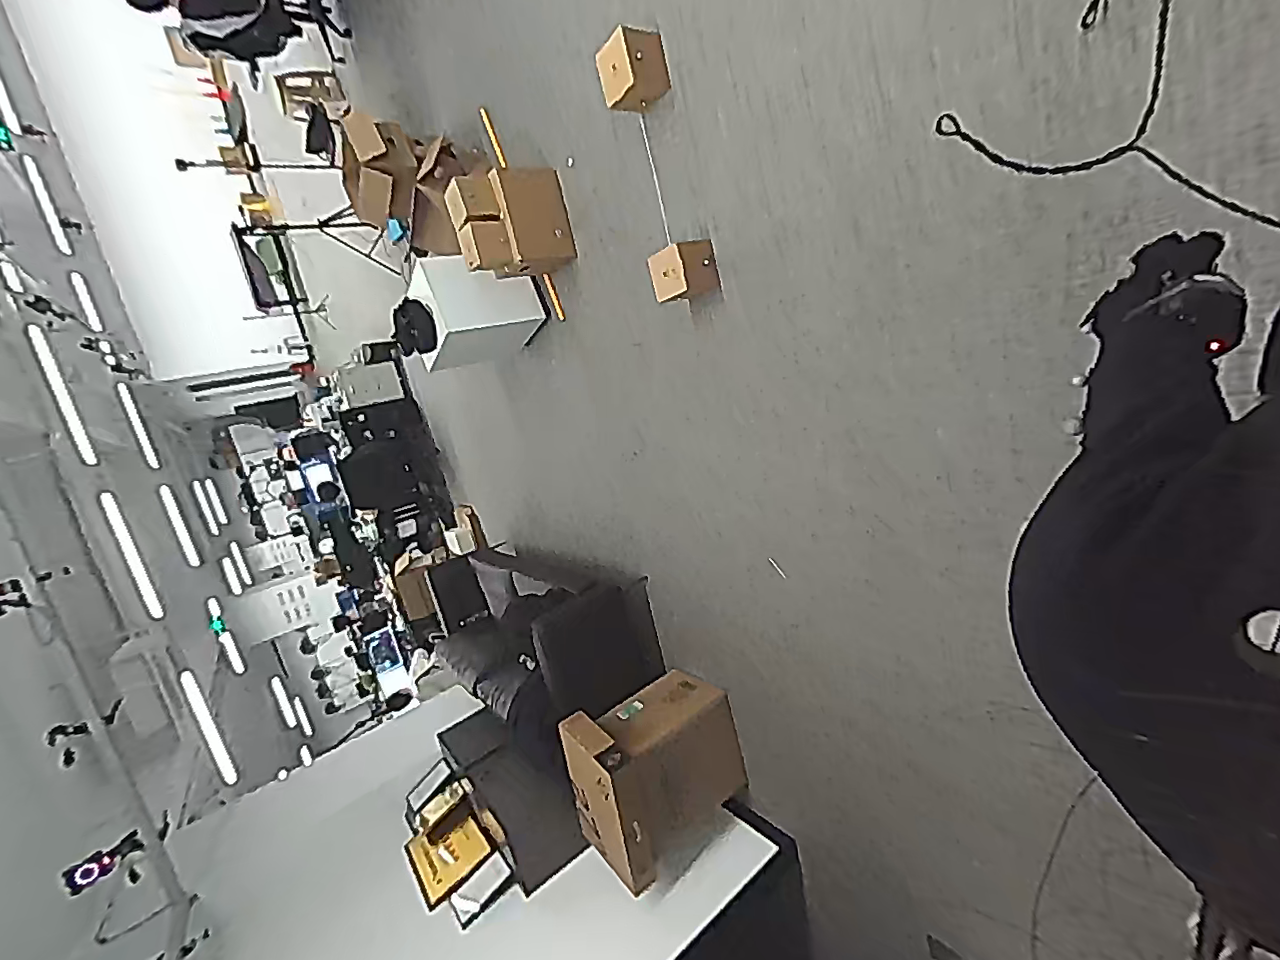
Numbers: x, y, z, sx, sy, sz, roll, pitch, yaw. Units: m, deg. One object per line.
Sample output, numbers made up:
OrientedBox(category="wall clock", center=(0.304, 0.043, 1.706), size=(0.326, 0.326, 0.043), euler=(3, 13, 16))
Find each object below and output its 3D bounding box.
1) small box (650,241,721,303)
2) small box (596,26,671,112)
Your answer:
OrientedBox(category="small box", center=(0.166, -0.758, 1.972), size=(0.179, 0.176, 0.168), euler=(-1, 108, 55))
OrientedBox(category="small box", center=(-0.020, -1.409, 1.868), size=(0.168, 0.176, 0.179), euler=(-1, 108, 55))
